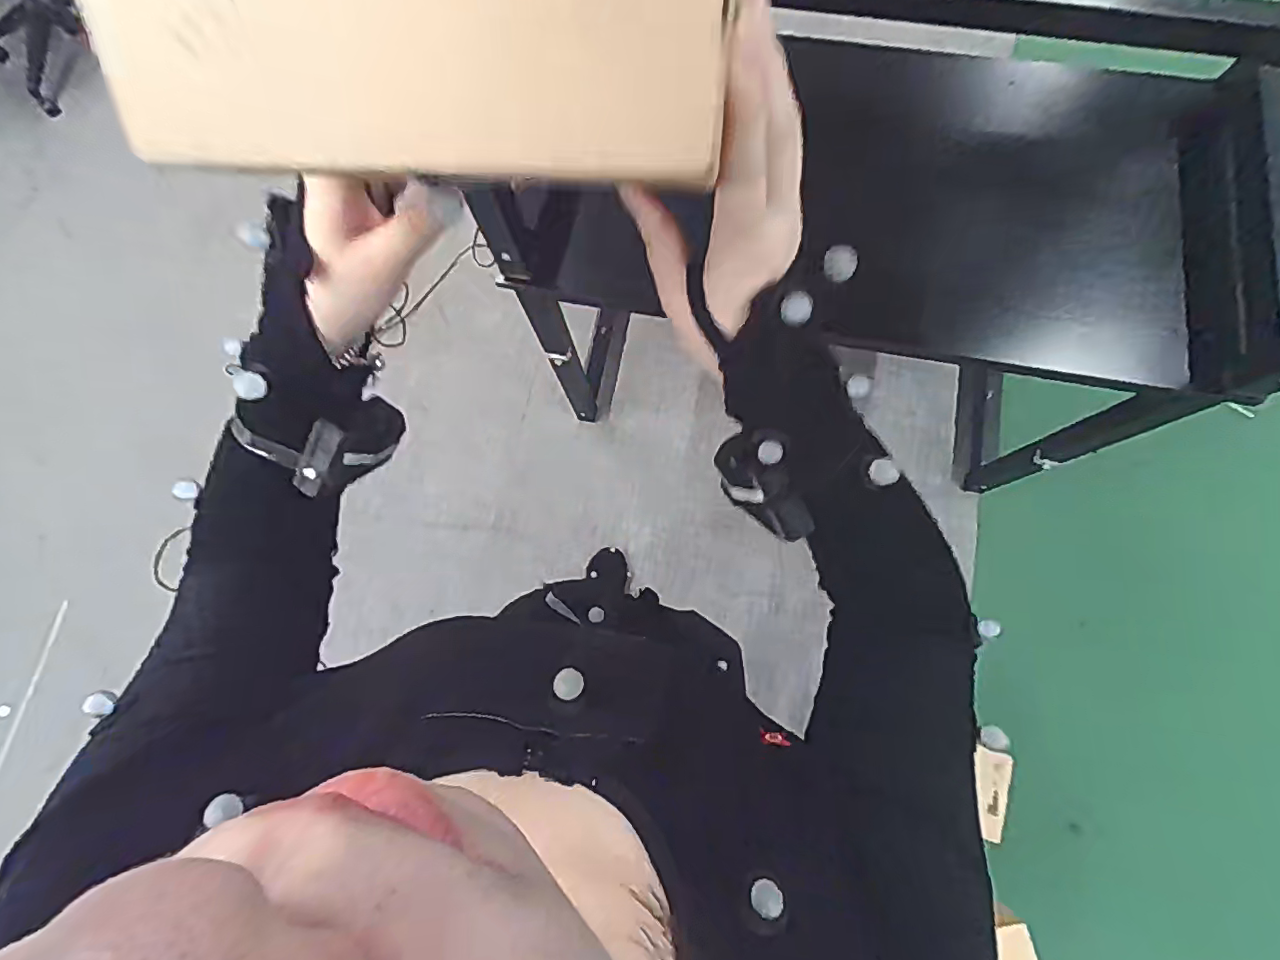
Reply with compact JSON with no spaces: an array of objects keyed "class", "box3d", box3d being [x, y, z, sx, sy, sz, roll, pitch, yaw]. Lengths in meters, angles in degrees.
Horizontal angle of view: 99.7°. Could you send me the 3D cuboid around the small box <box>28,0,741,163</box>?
[{"class":"small box","box3d":[-0.054,-0.198,0.168,0.179,0.176,0.168,5,120,7]}]
